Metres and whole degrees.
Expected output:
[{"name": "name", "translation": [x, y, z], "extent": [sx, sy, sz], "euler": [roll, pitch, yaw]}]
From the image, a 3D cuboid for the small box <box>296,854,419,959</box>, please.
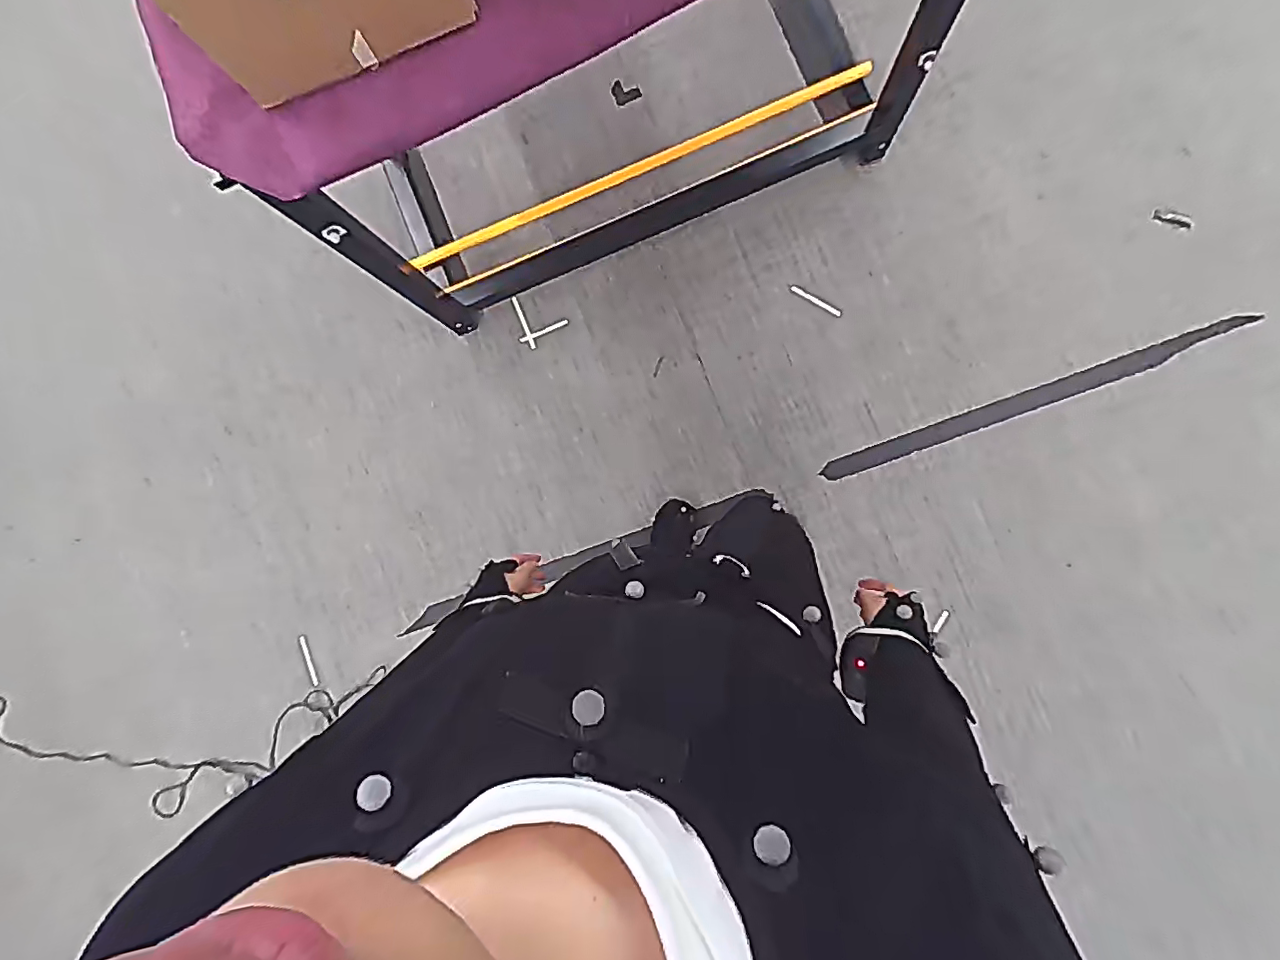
[{"name": "small box", "translation": [-0.685, 1.078, 1.330], "extent": [0.179, 0.176, 0.168], "euler": [-28, 86, 4]}]
